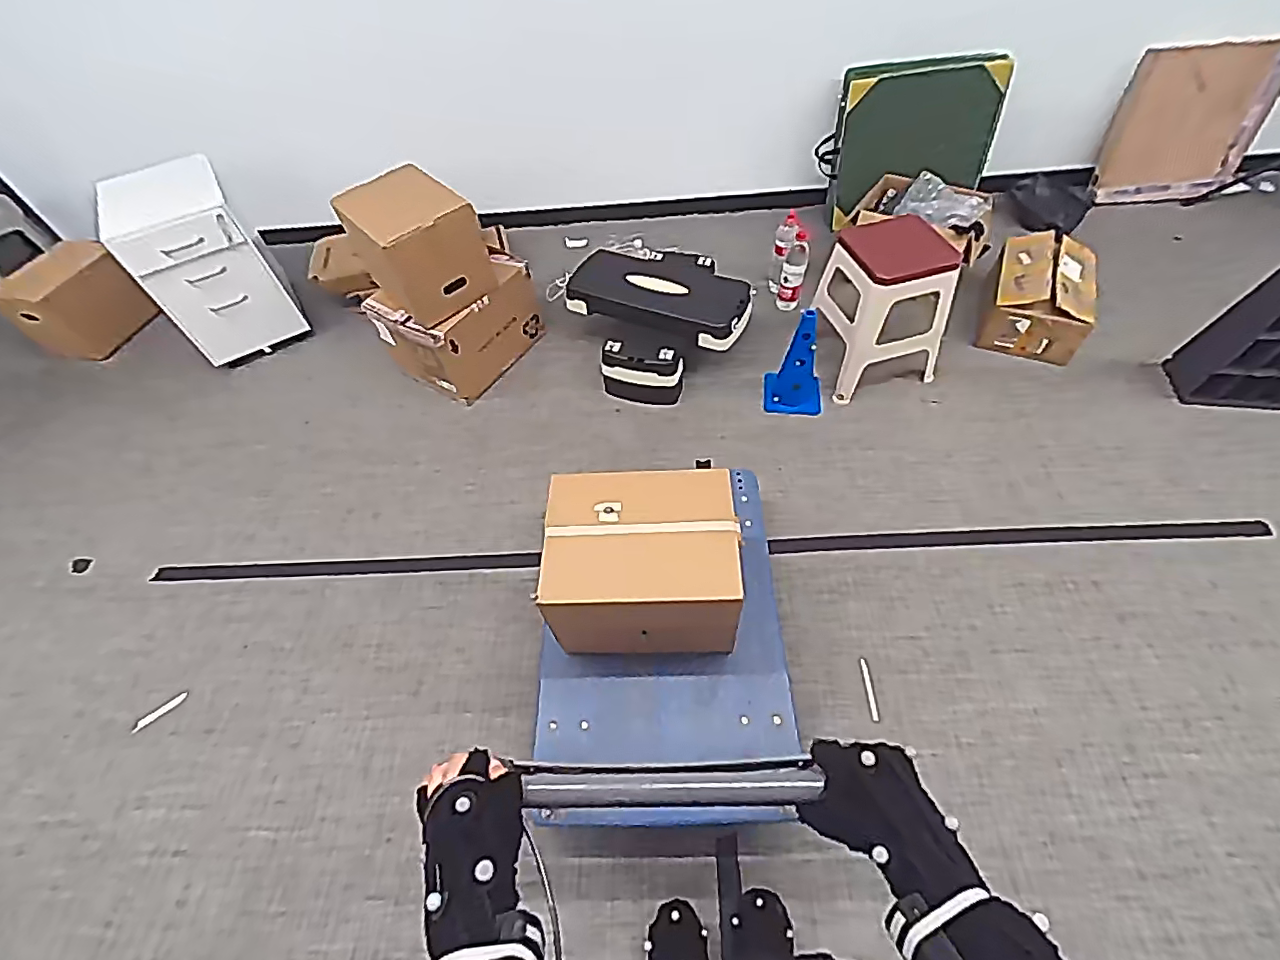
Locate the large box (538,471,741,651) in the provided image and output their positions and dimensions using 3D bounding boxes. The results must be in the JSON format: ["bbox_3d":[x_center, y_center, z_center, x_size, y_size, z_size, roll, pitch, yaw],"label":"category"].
[{"bbox_3d":[0.009,0.199,1.255,0.408,0.320,0.320,-3,54,4],"label":"large box"}]
